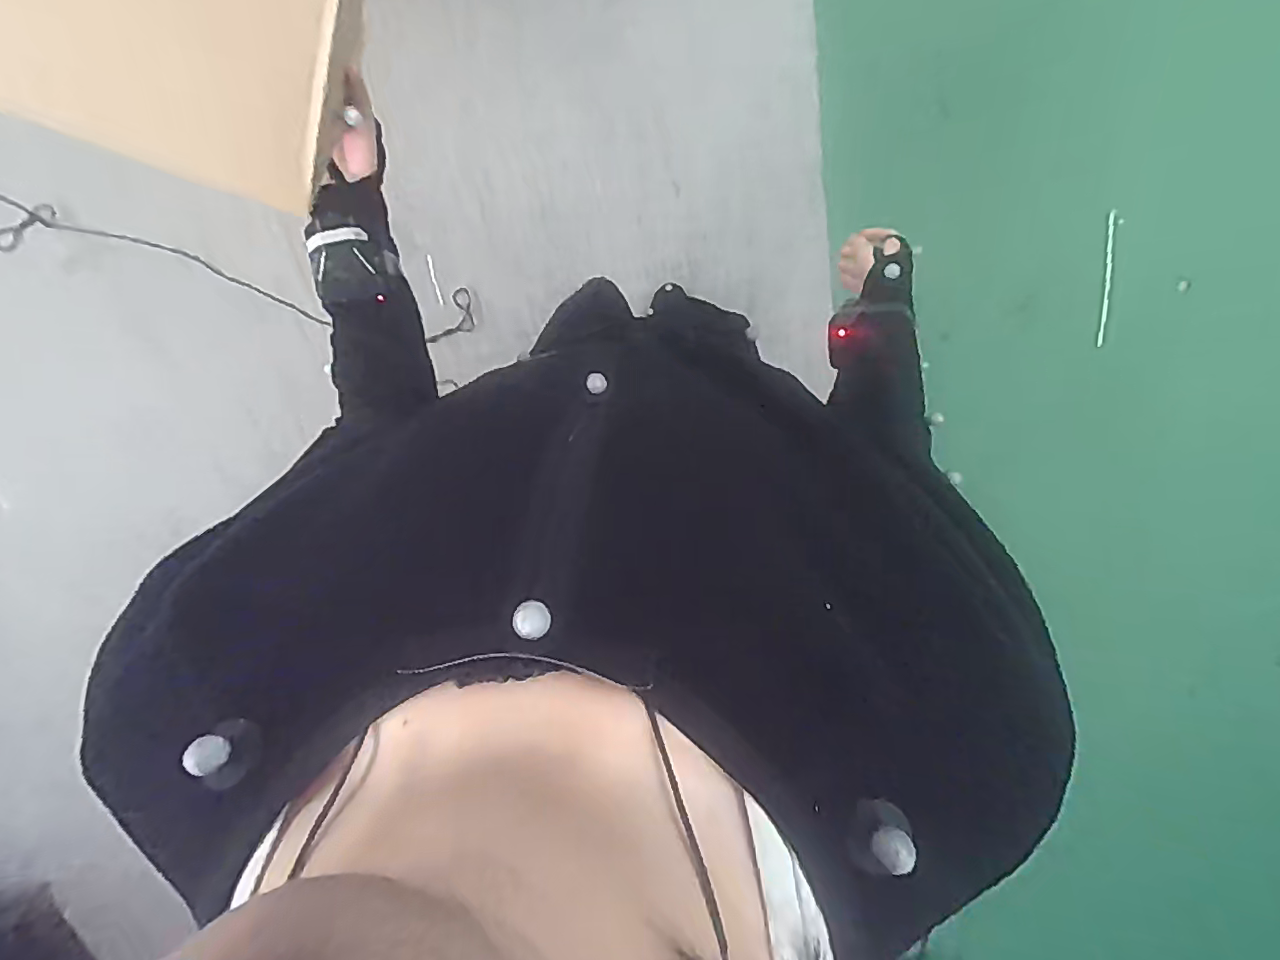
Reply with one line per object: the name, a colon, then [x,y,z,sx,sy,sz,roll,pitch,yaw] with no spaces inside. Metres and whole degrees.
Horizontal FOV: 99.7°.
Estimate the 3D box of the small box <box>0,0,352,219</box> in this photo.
small box: [-0.243,-0.276,0.274,0.168,0.179,0.176,11,129,-32]
